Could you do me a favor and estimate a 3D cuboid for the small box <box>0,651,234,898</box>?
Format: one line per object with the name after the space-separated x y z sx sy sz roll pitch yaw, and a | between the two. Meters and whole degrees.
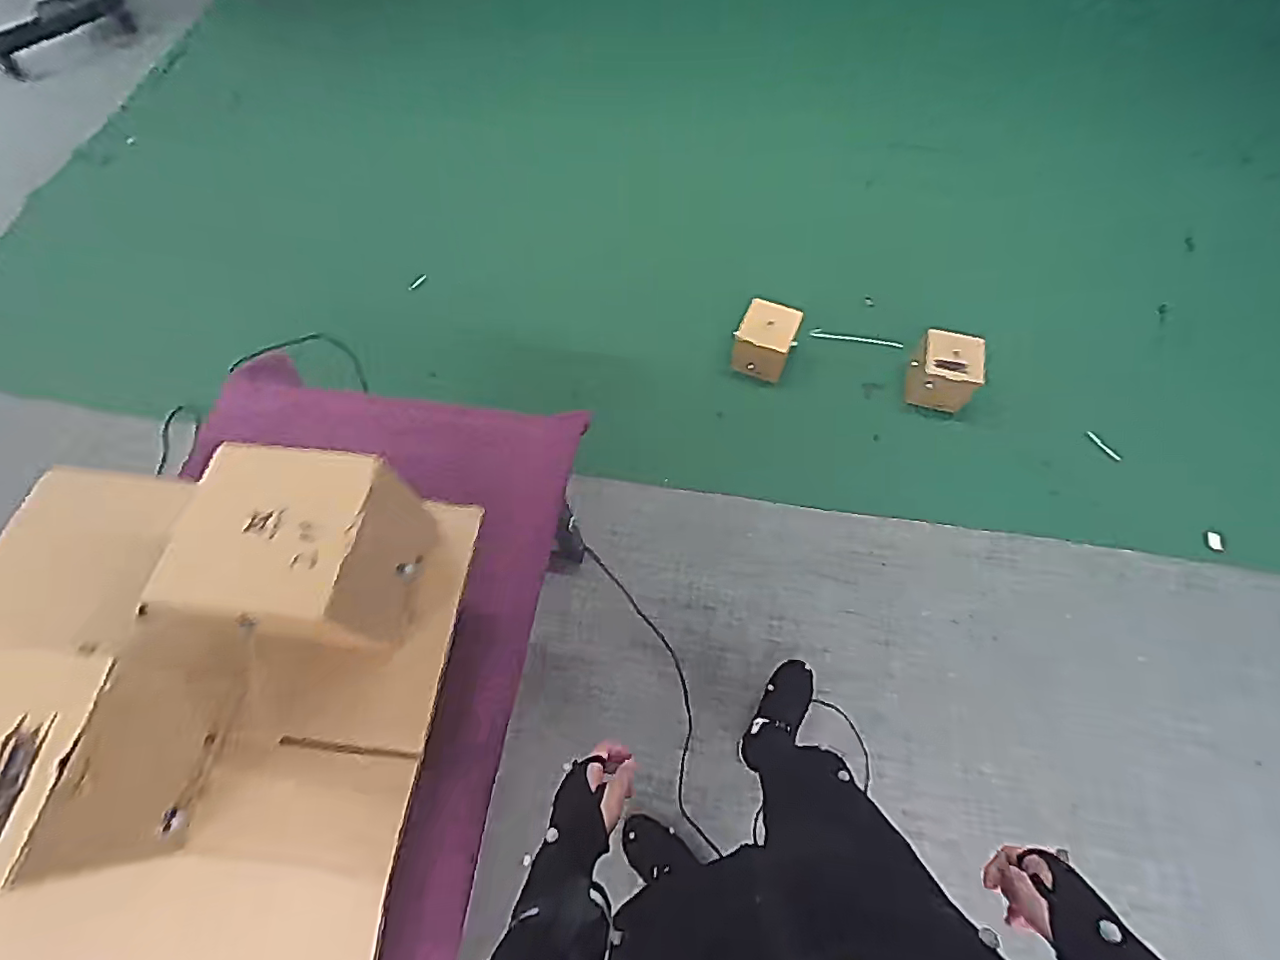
-0.534 0.257 0.499 0.179 0.176 0.168 4 63 4 | small box

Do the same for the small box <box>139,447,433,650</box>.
-0.355 0.082 0.585 0.179 0.176 0.168 5 64 3 | small box

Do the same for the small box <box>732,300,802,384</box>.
0.414 -0.452 1.786 0.168 0.176 0.179 21 69 11 | small box
